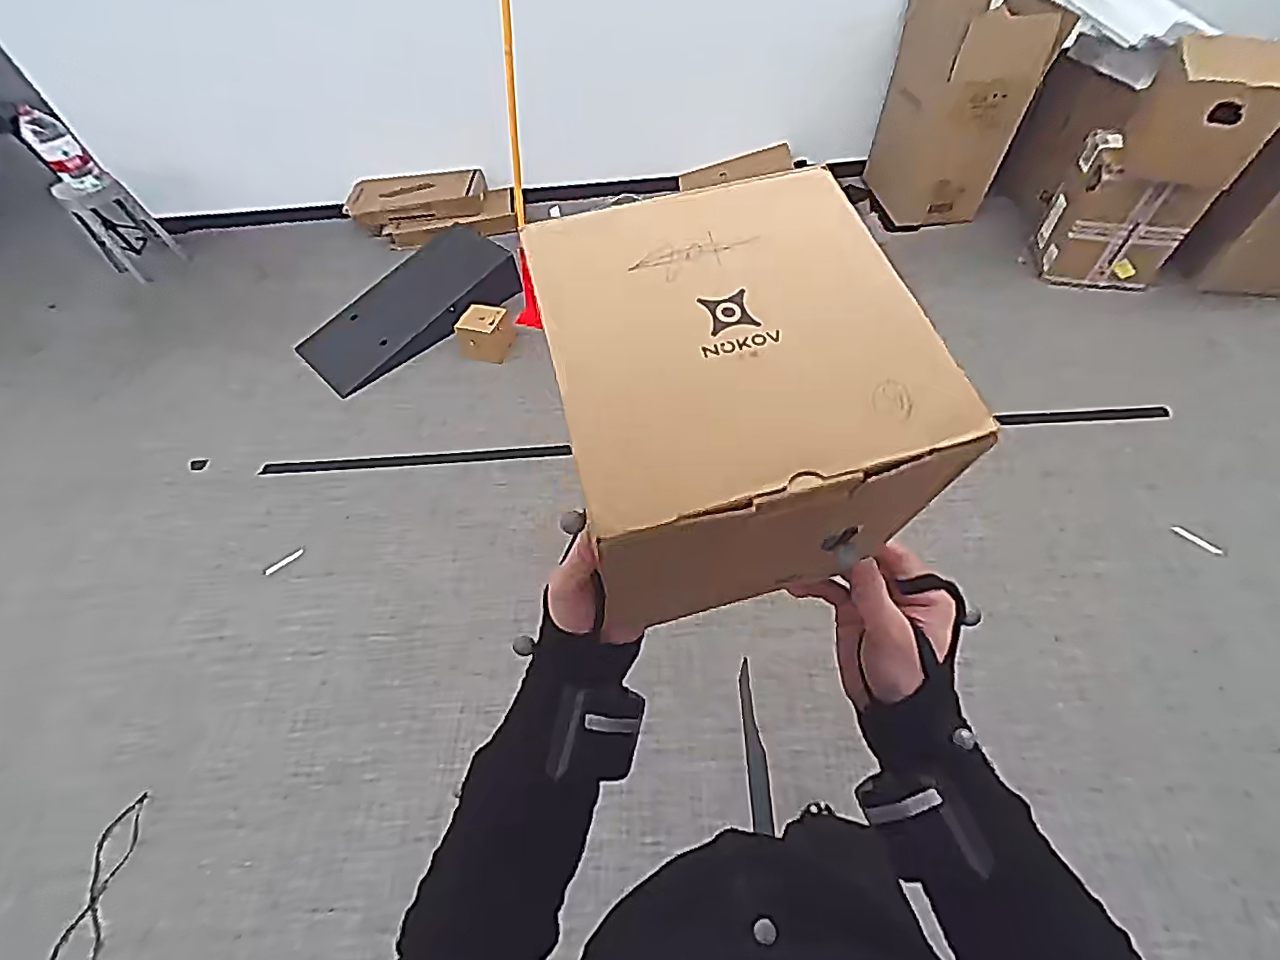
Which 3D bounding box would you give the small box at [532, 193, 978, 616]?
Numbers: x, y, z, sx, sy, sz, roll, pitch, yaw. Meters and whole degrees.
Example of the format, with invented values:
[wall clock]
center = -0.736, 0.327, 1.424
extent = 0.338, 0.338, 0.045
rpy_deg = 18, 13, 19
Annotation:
[small box]
center = 0.044, -0.029, 0.324
extent = 0.168, 0.176, 0.179
rpy_deg = -14, 63, -7
